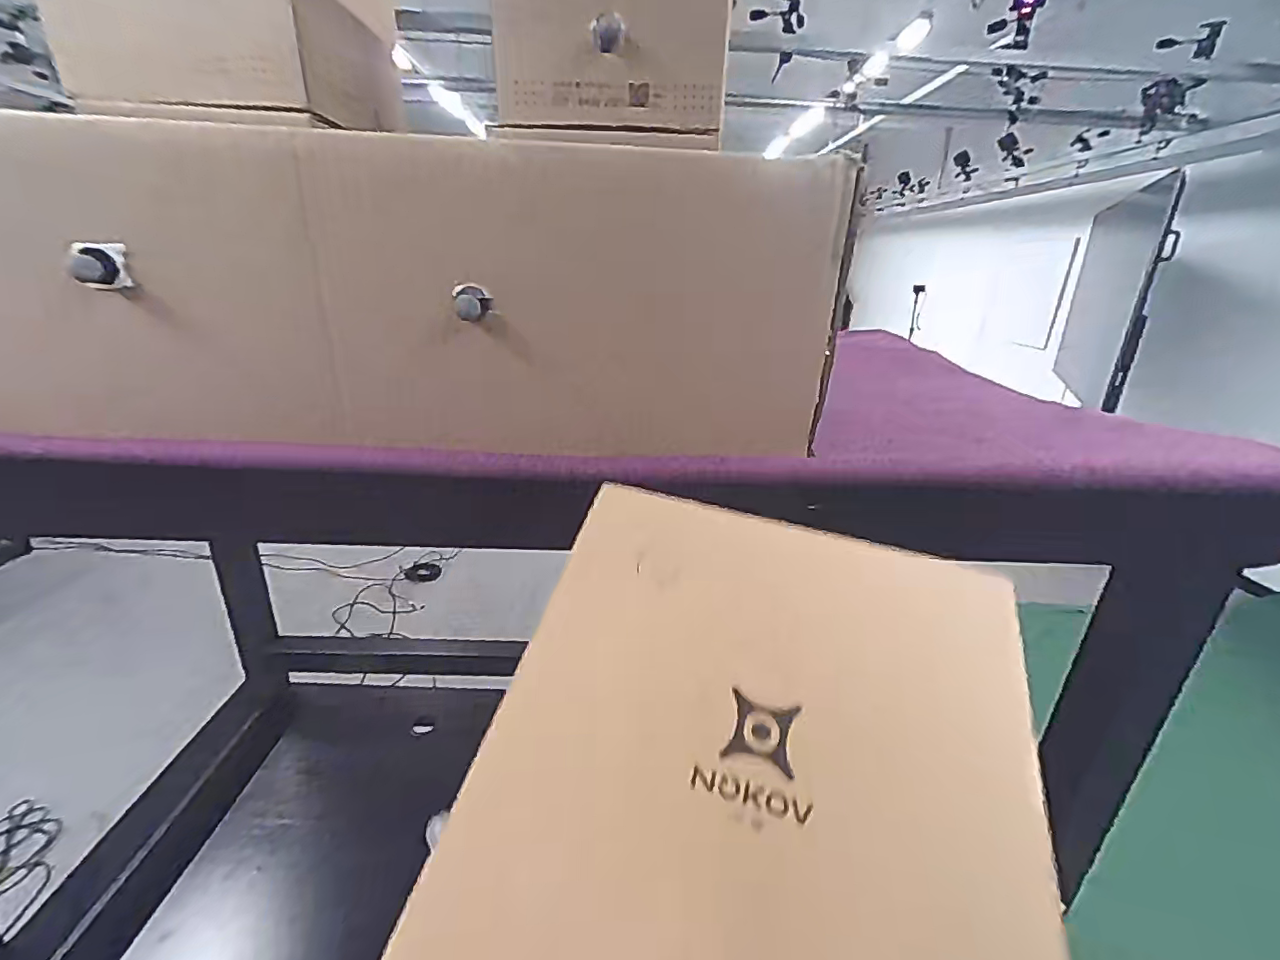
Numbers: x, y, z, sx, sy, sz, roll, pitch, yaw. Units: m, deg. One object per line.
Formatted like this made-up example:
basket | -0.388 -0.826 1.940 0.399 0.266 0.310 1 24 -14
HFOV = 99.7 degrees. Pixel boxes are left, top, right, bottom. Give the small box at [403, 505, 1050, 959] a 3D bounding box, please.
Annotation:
small box | 0.038 0.144 0.235 0.168 0.176 0.179 13 51 12

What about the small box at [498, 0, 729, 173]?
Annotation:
small box | -0.018 -0.360 0.446 0.168 0.176 0.179 1 21 1
